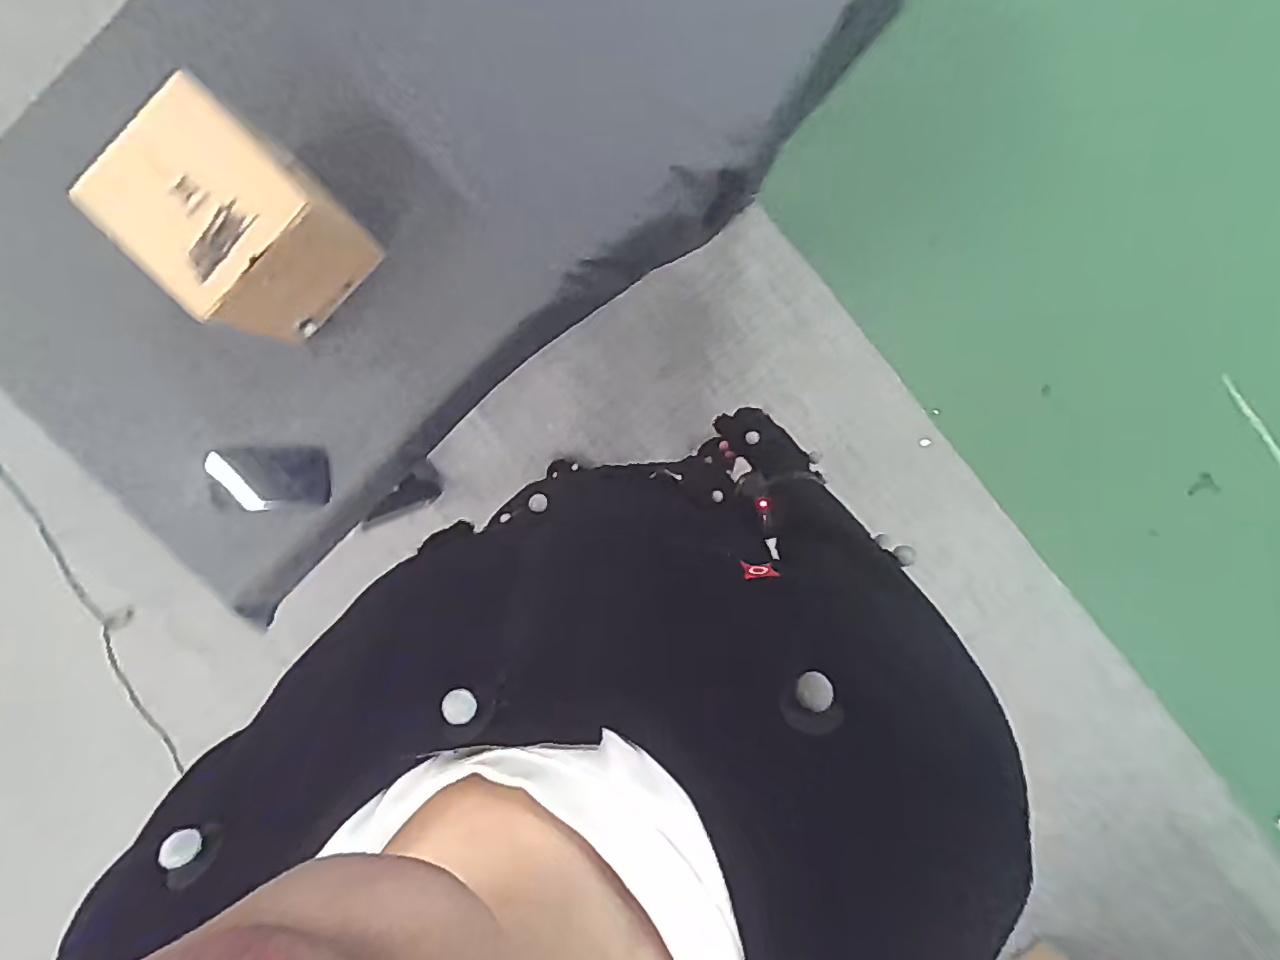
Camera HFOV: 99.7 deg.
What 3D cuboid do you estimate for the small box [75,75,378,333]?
[{"bbox_3d":[-0.444,-0.287,0.616,0.168,0.176,0.179,-44,94,3],"label":"small box"}]
